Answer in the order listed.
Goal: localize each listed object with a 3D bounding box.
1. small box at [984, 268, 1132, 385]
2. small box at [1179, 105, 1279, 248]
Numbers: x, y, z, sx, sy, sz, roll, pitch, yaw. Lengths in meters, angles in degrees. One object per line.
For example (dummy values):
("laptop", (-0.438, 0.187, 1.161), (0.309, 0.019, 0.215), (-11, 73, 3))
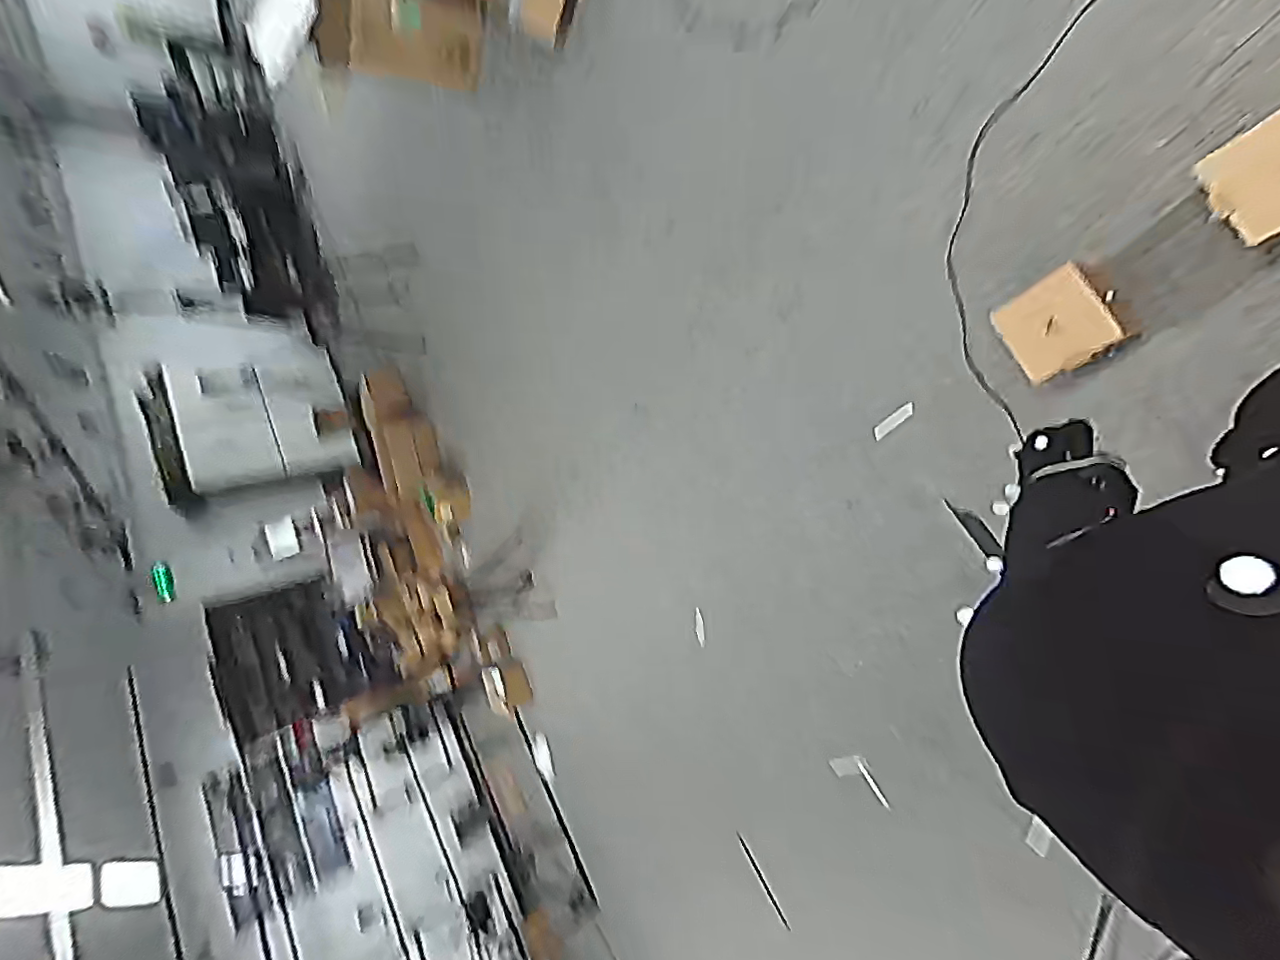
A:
("small box", (0.883, -0.326, 1.140), (0.168, 0.176, 0.179), (-41, 70, 50))
("small box", (1.039, -0.496, 0.872), (0.179, 0.176, 0.168), (-38, 73, 51))
